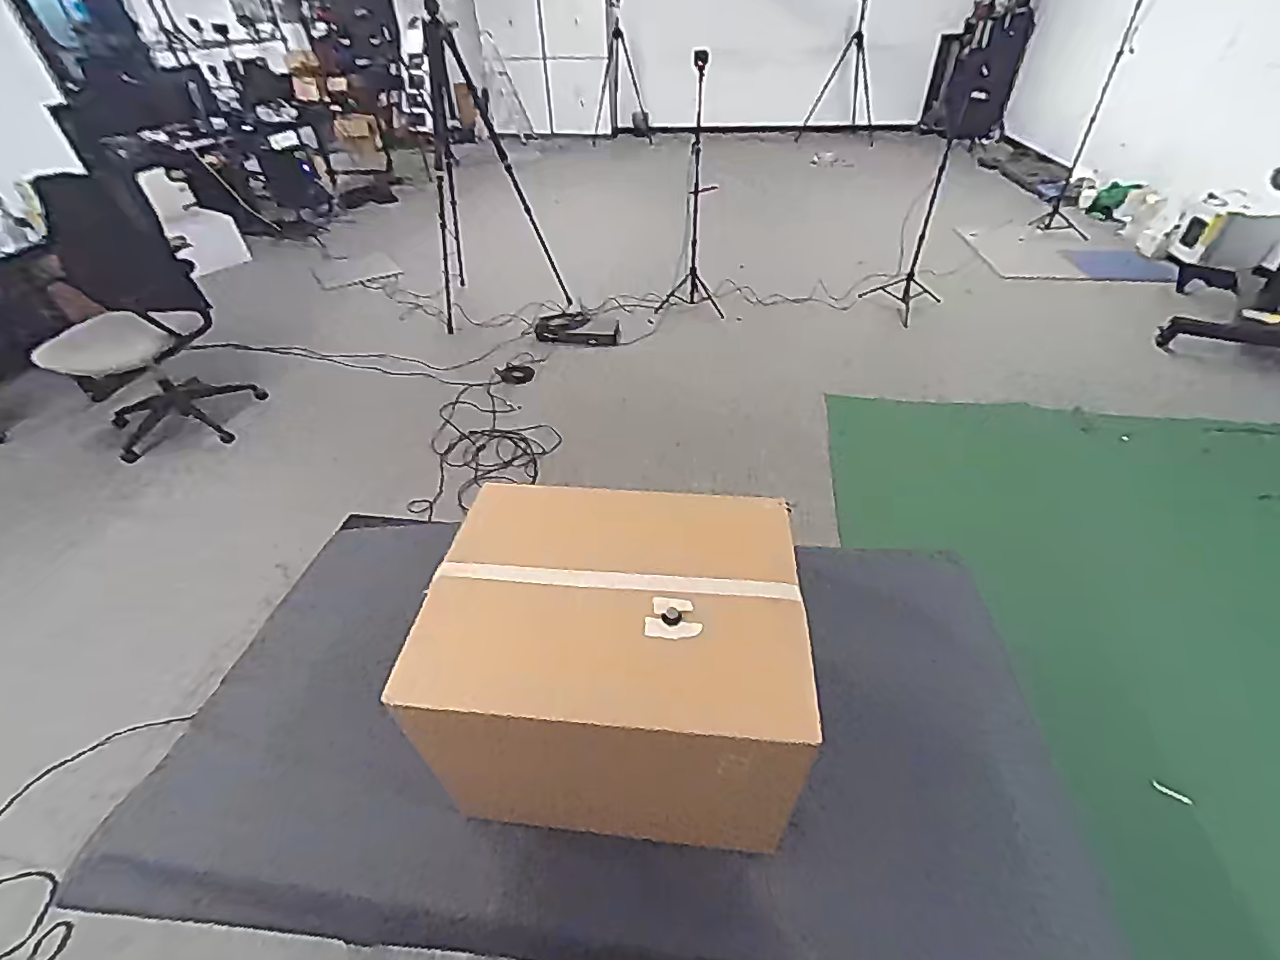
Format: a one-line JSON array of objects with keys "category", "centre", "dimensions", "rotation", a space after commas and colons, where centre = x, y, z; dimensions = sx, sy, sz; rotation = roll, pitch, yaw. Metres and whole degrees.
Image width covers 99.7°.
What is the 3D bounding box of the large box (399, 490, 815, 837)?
[{"category": "large box", "centre": [-0.023, 0.233, 0.711], "dimensions": [0.408, 0.320, 0.320], "rotation": [3, 42, 5]}]
